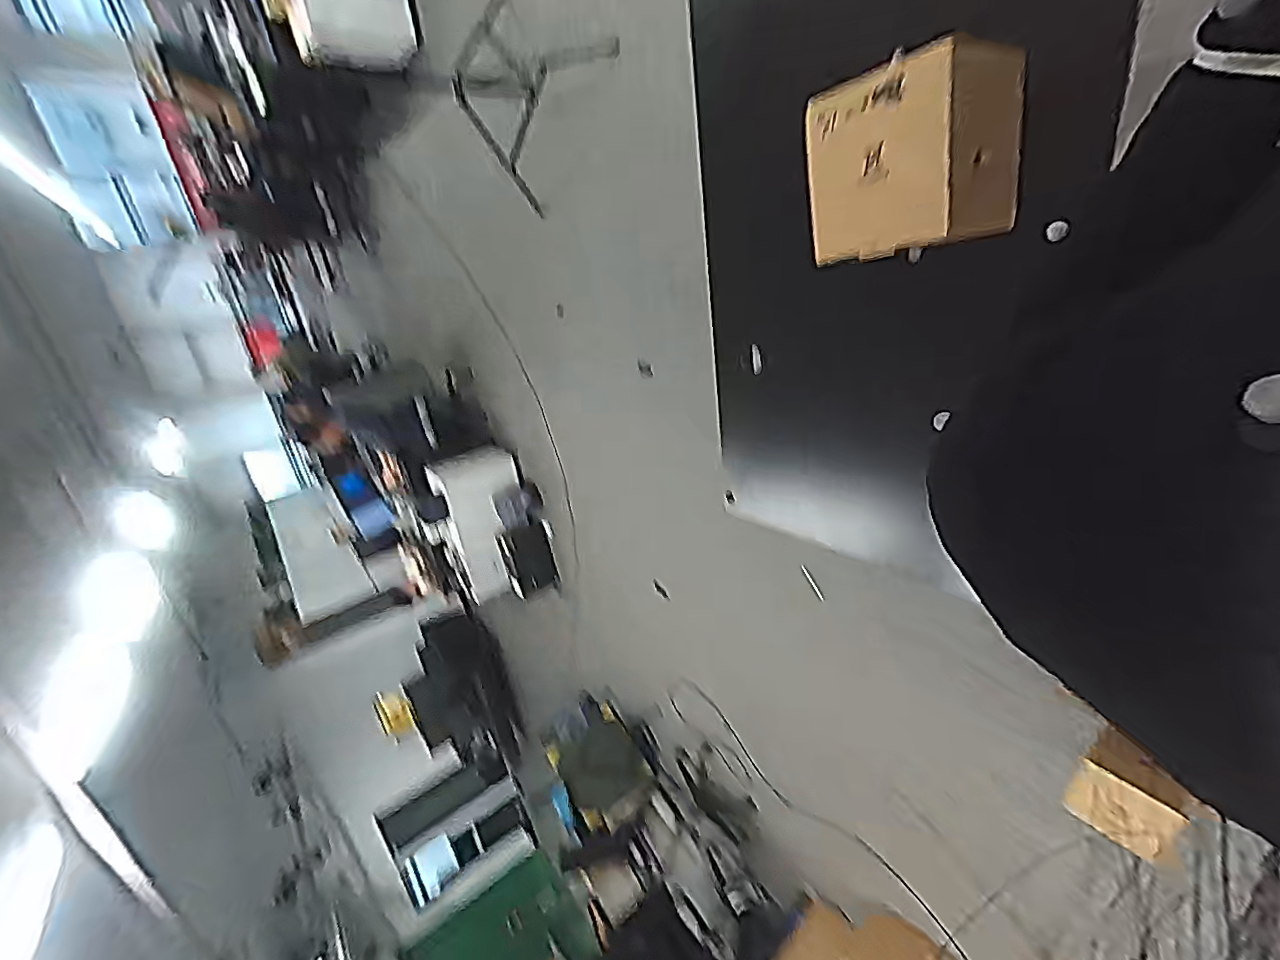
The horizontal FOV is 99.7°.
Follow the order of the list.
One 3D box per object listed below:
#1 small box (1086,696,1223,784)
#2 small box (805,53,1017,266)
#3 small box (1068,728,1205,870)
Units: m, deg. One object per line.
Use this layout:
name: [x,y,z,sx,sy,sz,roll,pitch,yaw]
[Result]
small box: [1.229,0.651,1.295,0.179,0.176,0.168,30,133,44]
small box: [0.321,-0.369,0.643,0.168,0.176,0.179,15,122,52]
small box: [1.102,0.697,1.200,0.168,0.176,0.179,29,132,47]
